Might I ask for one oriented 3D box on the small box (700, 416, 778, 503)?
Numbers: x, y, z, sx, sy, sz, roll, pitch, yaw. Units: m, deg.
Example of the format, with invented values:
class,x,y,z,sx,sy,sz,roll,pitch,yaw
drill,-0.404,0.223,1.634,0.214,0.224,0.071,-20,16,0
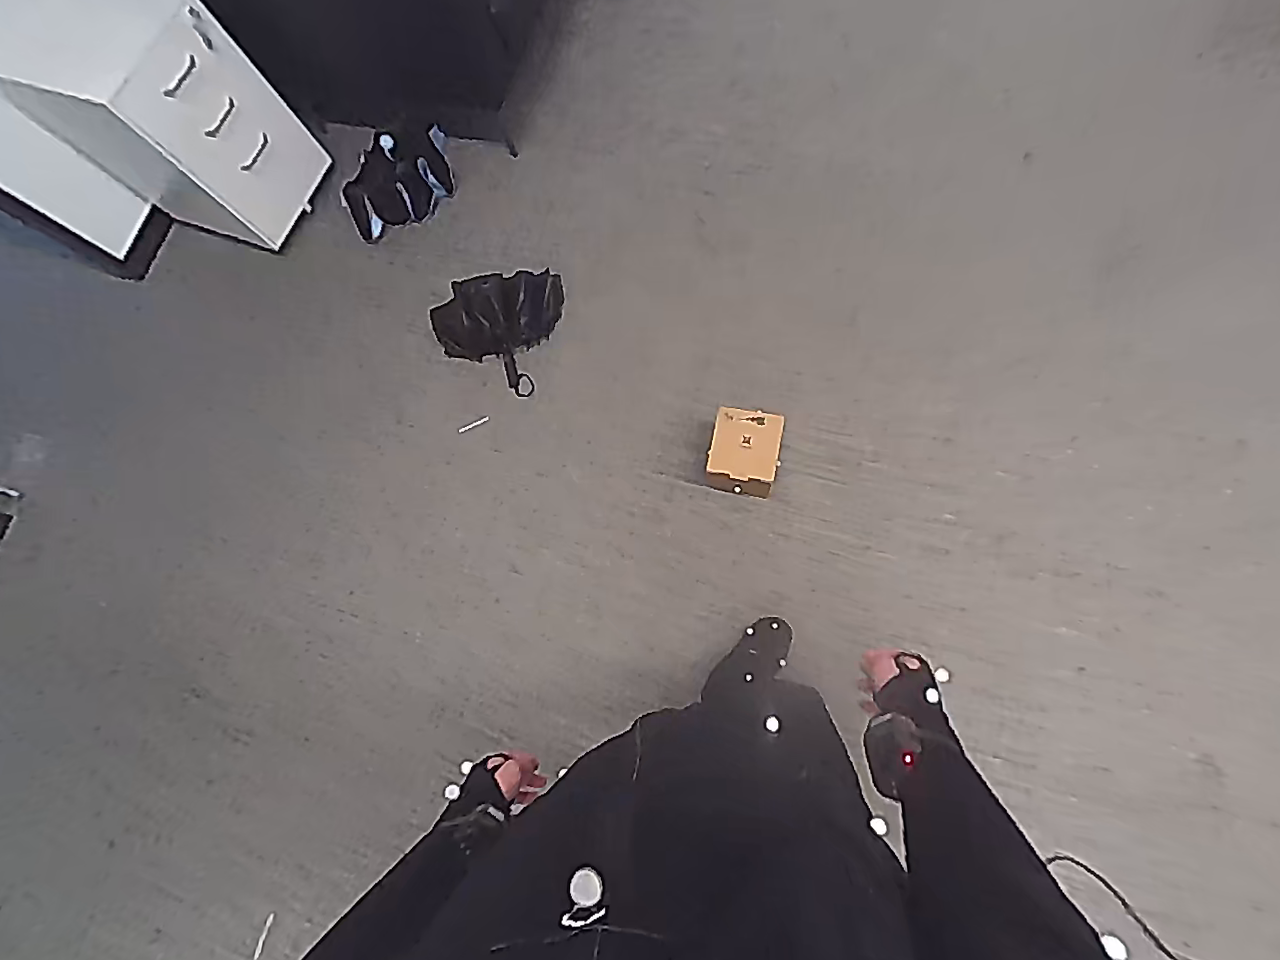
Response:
class,x,y,z,sx,sy,sz,roll,pitch,yaw
small box,0.260,-0.047,1.419,0.168,0.176,0.179,11,77,11
